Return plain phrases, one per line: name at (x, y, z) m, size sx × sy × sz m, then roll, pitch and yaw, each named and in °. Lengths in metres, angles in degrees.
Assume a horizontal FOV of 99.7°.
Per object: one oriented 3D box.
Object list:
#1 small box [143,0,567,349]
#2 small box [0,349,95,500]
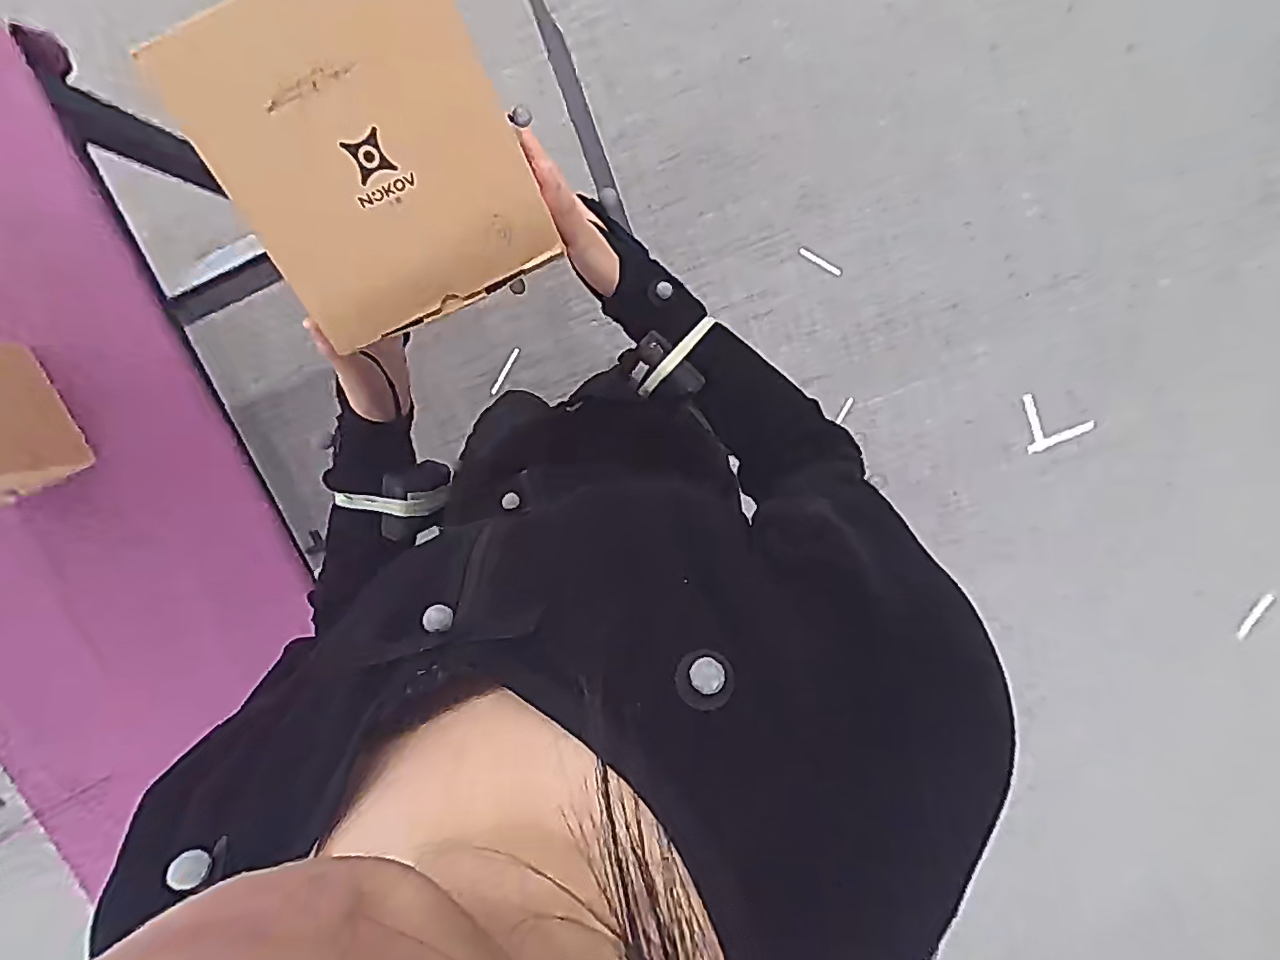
small box at (-0.162, -0.220, 0.382) m, size 0.168 × 0.176 × 0.179 m, roll -24°, pitch 116°, yaw 2°
small box at (-0.869, -0.061, 0.676) m, size 0.168 × 0.176 × 0.179 m, roll -22°, pitch 100°, yaw 7°
